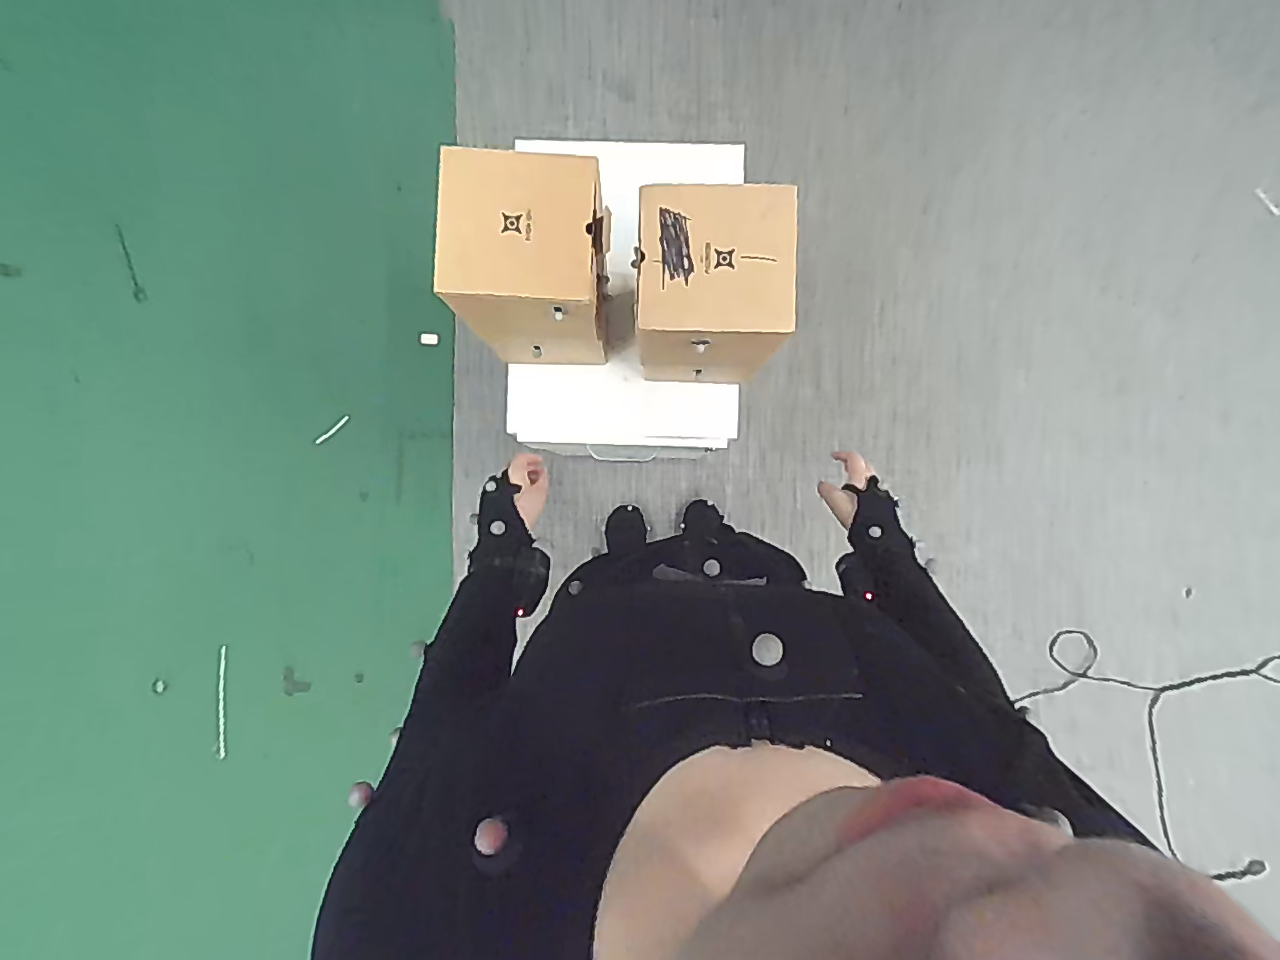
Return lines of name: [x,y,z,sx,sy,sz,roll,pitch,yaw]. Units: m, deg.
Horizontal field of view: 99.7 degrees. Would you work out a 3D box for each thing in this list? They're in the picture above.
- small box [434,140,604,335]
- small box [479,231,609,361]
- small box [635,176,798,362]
small box: [-0.138,-0.288,0.676,0.179,0.176,0.168,2,88,-3]
small box: [-0.141,-0.287,0.841,0.179,0.176,0.168,0,89,-2]
small box: [0.086,-0.249,0.674,0.179,0.176,0.168,2,88,1]
